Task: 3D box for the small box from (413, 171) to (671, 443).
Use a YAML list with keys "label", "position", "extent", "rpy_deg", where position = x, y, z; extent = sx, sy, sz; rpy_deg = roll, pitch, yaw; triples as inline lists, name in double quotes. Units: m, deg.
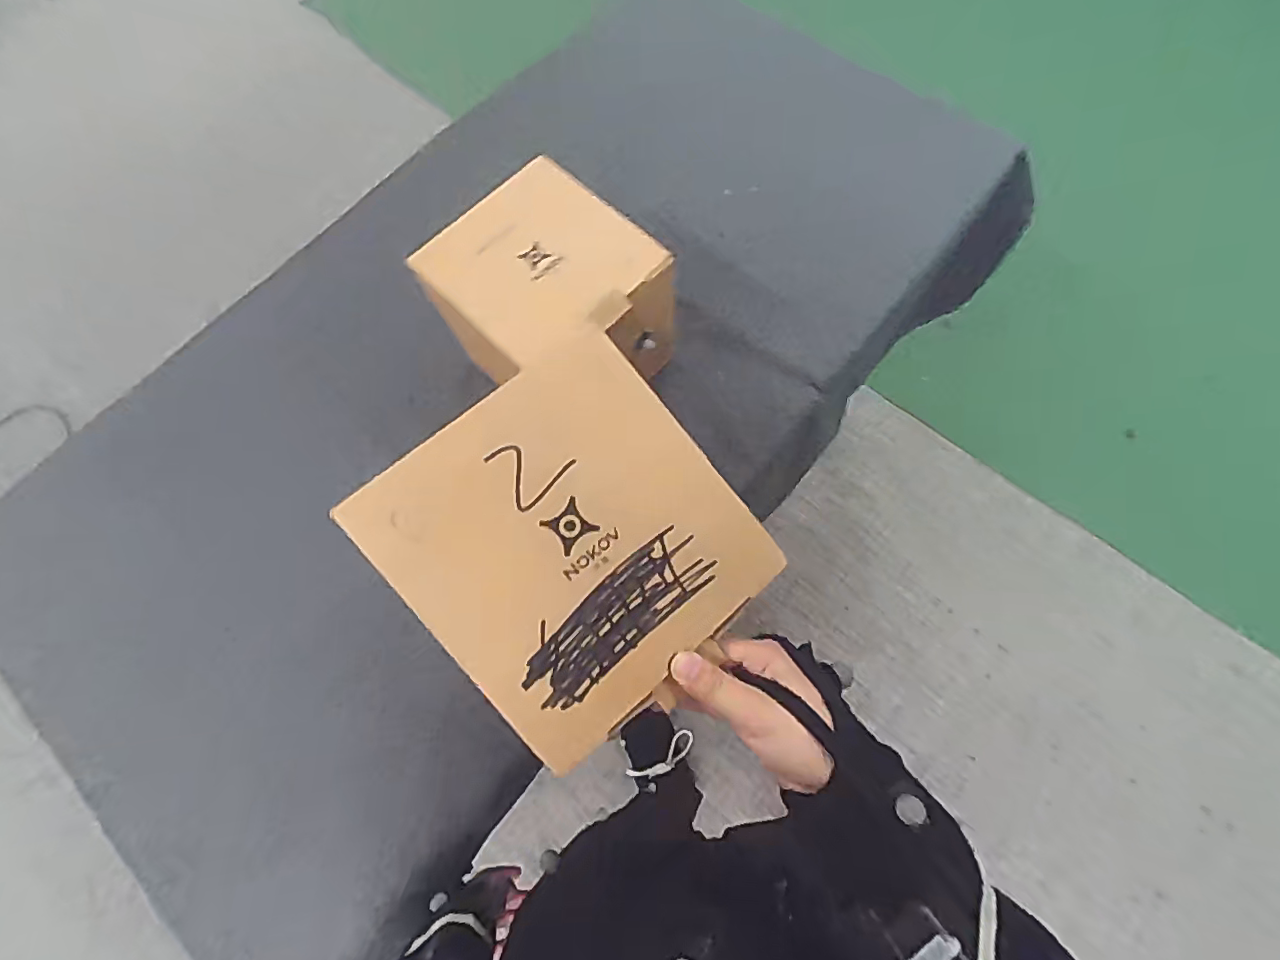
- label: "small box"
  position: [-0.082, -0.159, 0.552]
  extent: [0.179, 0.176, 0.168]
  rpy_deg: [42, 78, 16]
